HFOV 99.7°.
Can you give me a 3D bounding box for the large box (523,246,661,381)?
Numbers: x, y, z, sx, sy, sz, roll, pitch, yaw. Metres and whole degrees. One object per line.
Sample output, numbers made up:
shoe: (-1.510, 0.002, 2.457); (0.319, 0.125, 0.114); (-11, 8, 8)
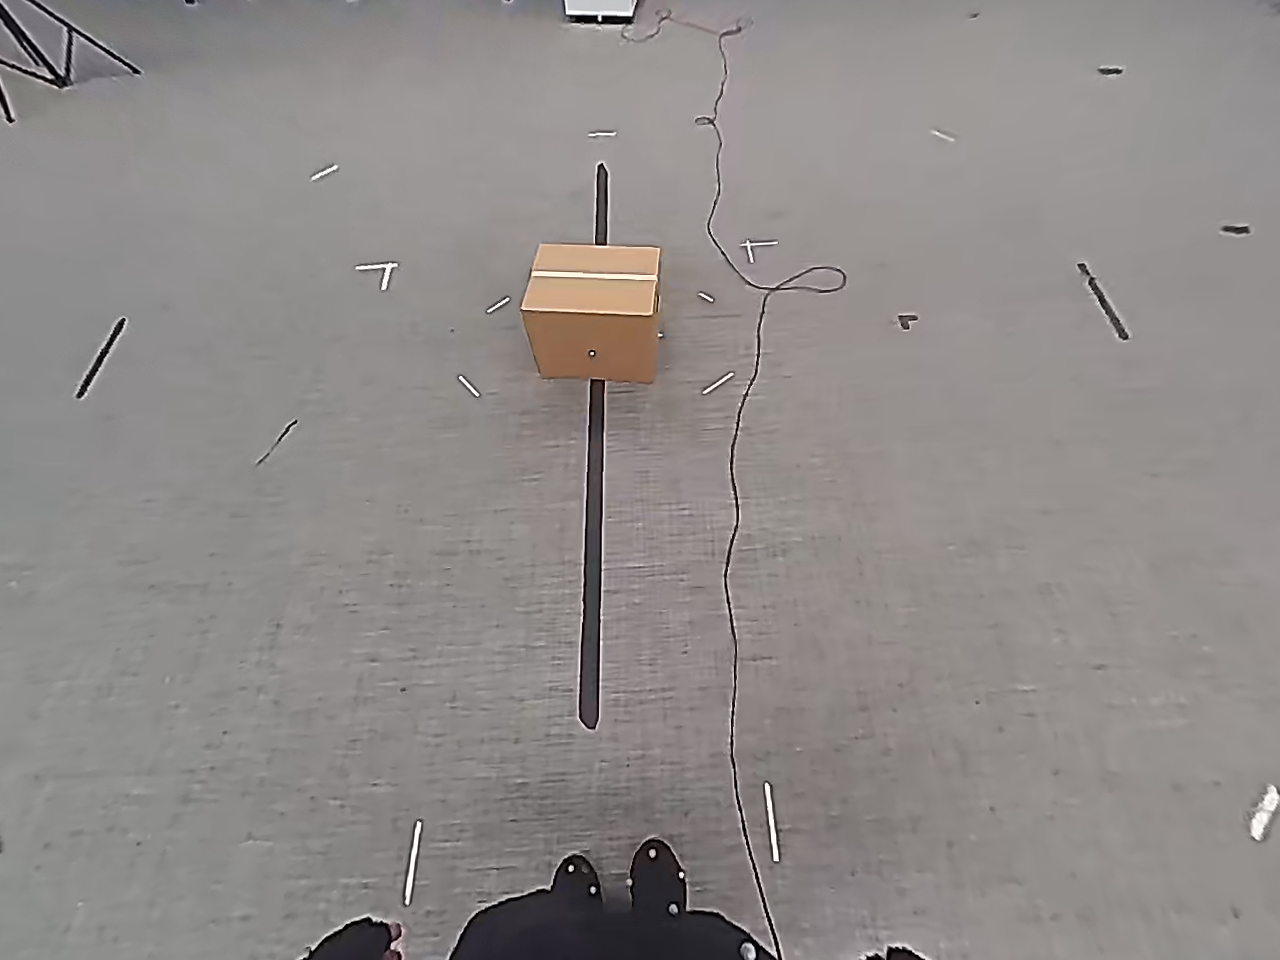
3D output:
large box: (-0.141, -0.551, 1.816); (0.408, 0.320, 0.320); (4, 61, 4)
